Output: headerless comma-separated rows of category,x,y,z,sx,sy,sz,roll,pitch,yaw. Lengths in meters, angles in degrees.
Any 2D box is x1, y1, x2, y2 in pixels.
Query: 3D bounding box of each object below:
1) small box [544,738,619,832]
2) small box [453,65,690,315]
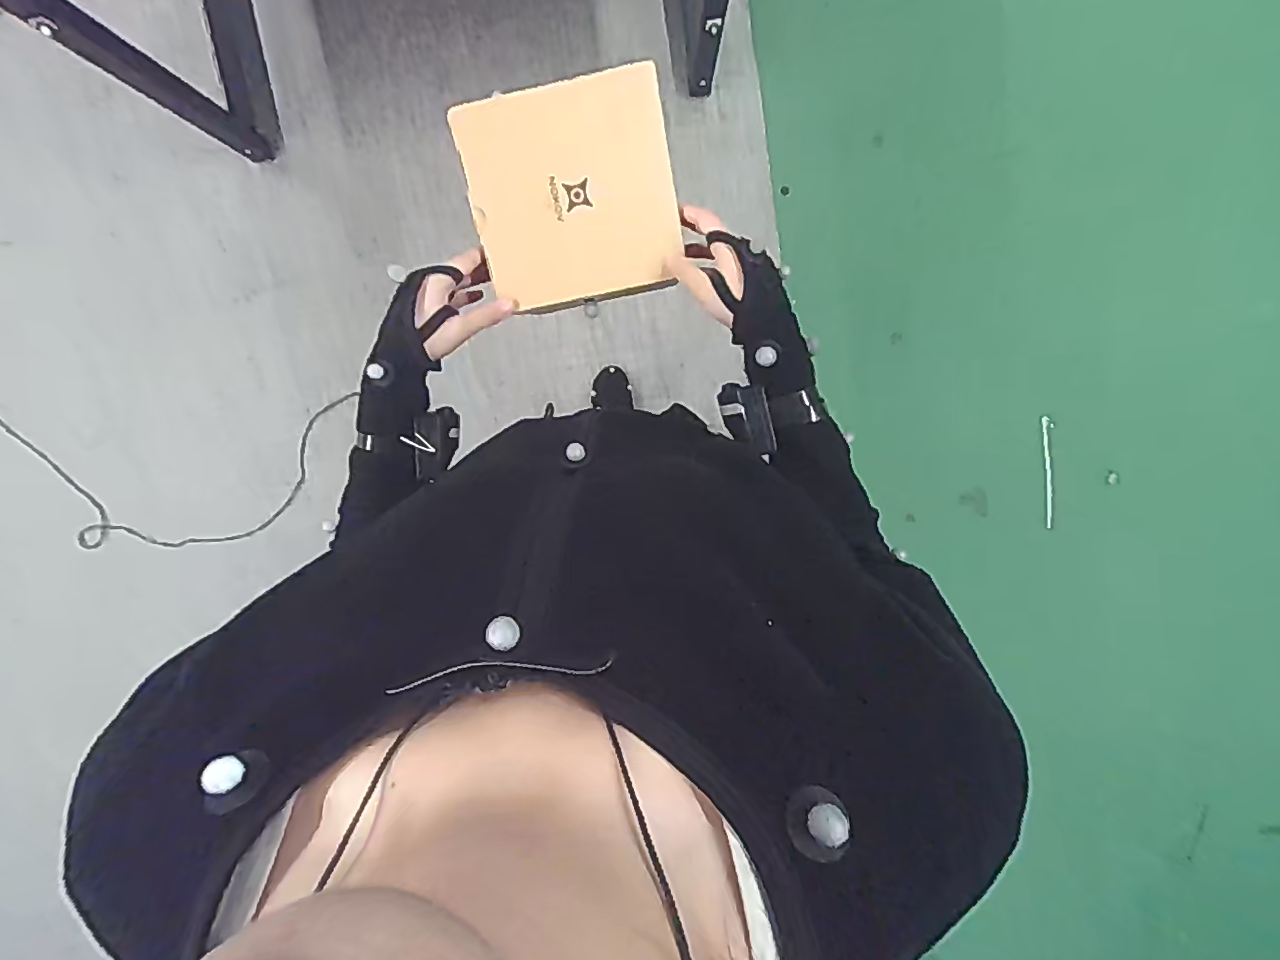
small box,-0.161,0.848,1.502,0.179,0.176,0.168,-14,95,6
small box,-0.053,-0.268,0.538,0.179,0.176,0.168,-10,108,6
